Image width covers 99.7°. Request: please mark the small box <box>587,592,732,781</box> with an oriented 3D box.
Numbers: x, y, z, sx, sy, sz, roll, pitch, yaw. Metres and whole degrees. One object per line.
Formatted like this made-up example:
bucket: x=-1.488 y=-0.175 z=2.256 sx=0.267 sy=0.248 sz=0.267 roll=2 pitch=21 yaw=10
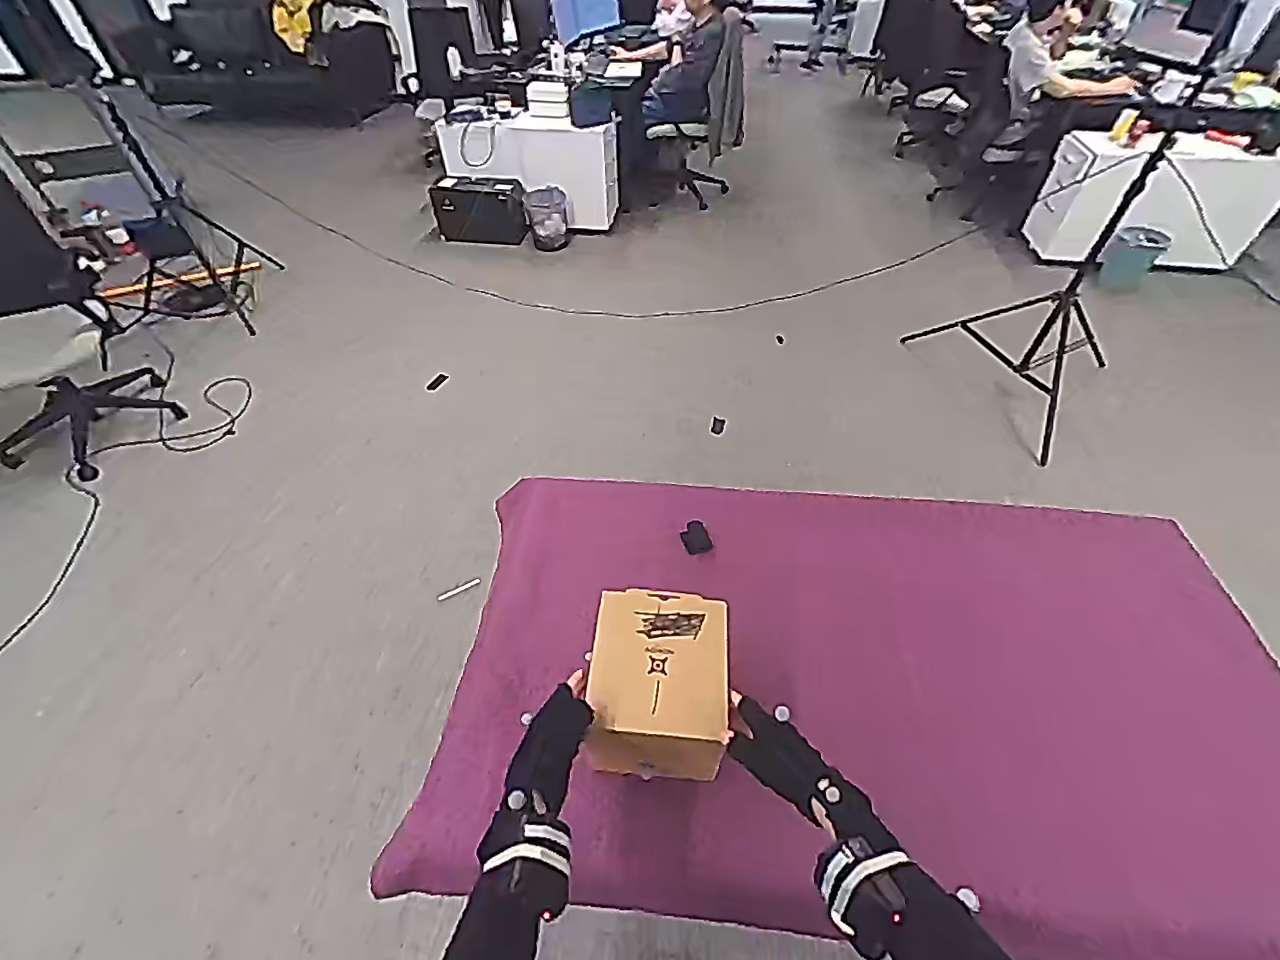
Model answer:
small box: x=0.028 y=0.272 z=0.714 sx=0.168 sy=0.176 sz=0.179 roll=4 pitch=48 yaw=4
